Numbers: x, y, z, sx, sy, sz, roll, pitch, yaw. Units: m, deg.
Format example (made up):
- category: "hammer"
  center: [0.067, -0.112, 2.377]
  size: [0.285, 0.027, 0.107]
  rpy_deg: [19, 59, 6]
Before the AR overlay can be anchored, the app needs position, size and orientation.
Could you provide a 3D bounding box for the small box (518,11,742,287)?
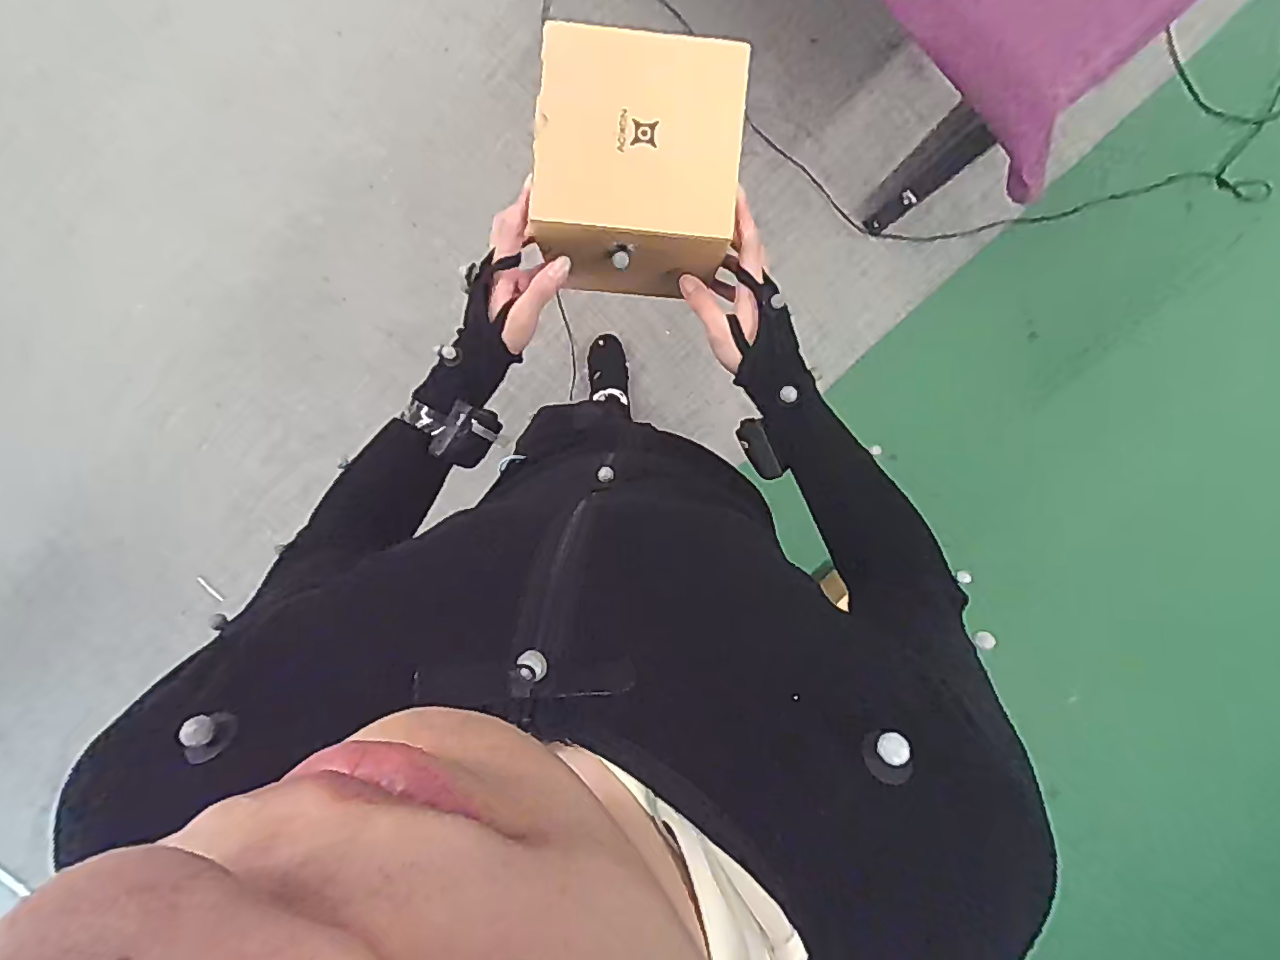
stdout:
- category: "small box"
  center: [-0.009, -0.299, 0.527]
  size: [0.179, 0.176, 0.168]
  rpy_deg: [5, 91, 0]
